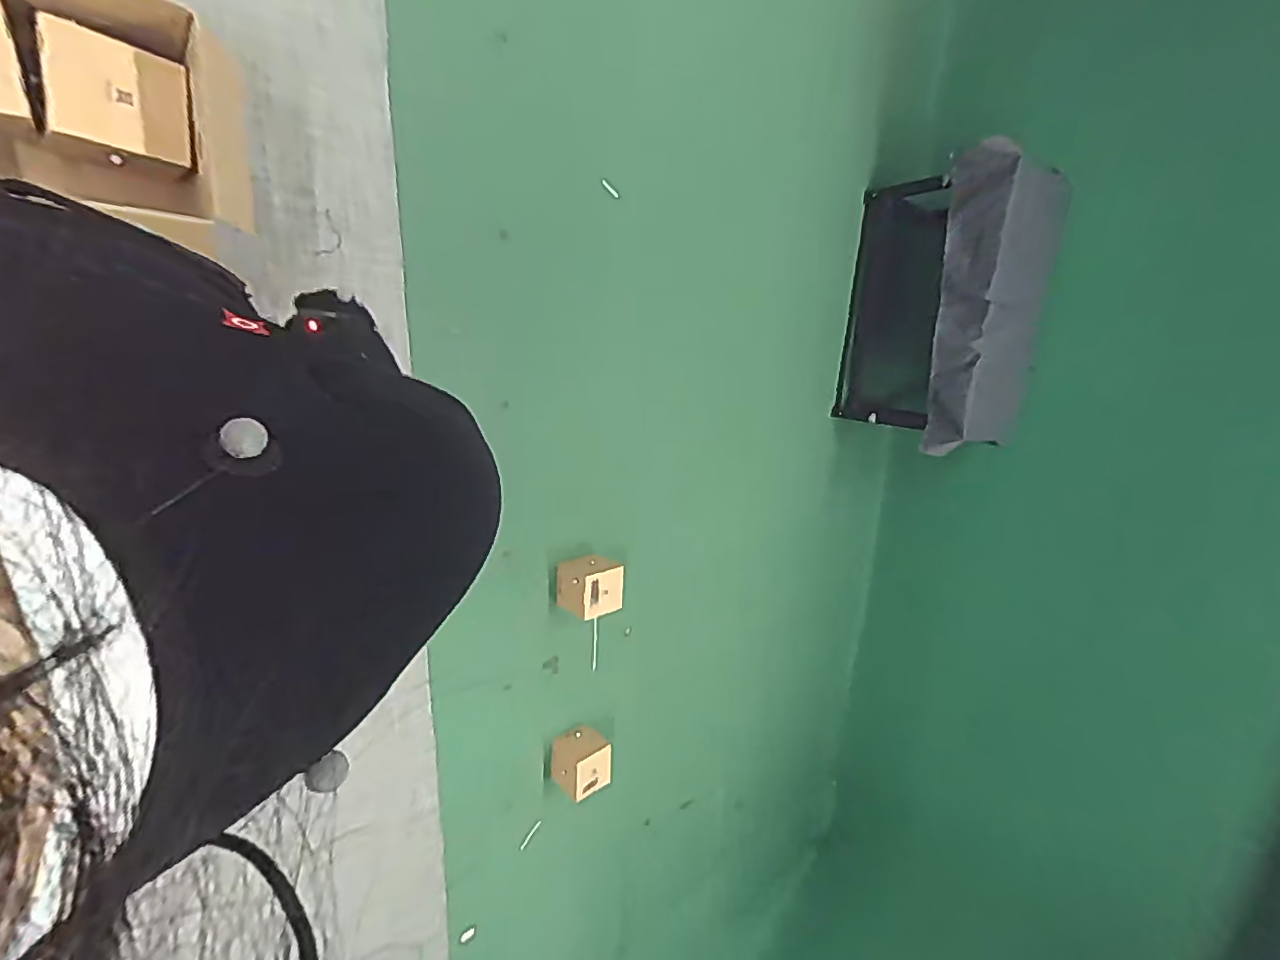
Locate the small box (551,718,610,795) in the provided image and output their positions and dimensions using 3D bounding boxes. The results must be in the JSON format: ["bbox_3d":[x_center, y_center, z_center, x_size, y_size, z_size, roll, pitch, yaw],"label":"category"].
[{"bbox_3d":[-0.238,1.079,2.125,0.168,0.176,0.179,-9,108,-42],"label":"small box"}]
